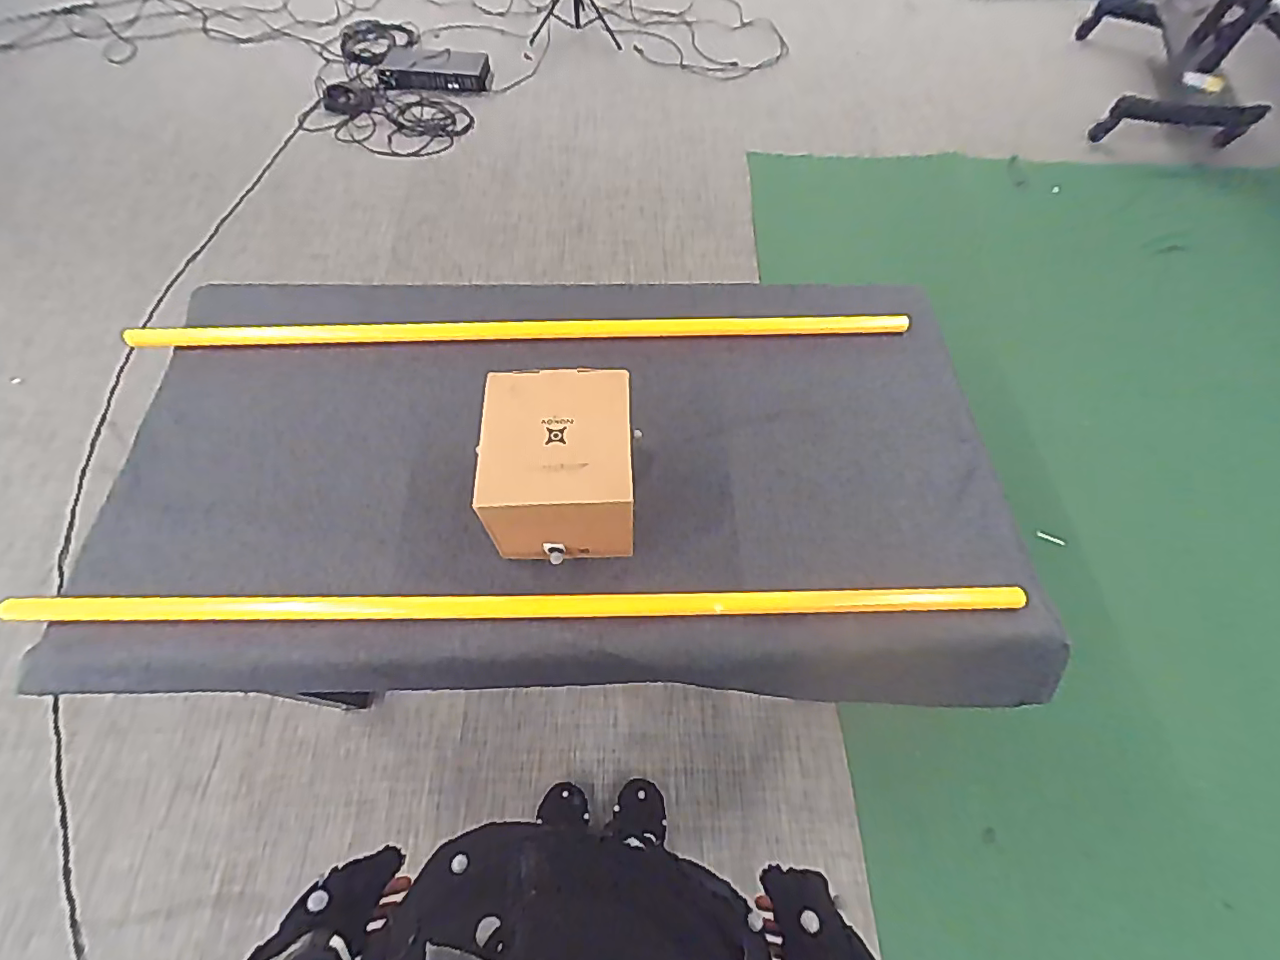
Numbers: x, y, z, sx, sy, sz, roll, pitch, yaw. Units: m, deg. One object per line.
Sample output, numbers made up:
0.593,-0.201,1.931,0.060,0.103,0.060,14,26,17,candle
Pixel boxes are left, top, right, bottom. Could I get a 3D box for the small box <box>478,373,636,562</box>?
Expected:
-0.091,-0.011,0.668,0.168,0.176,0.179,-3,63,-2,small box
